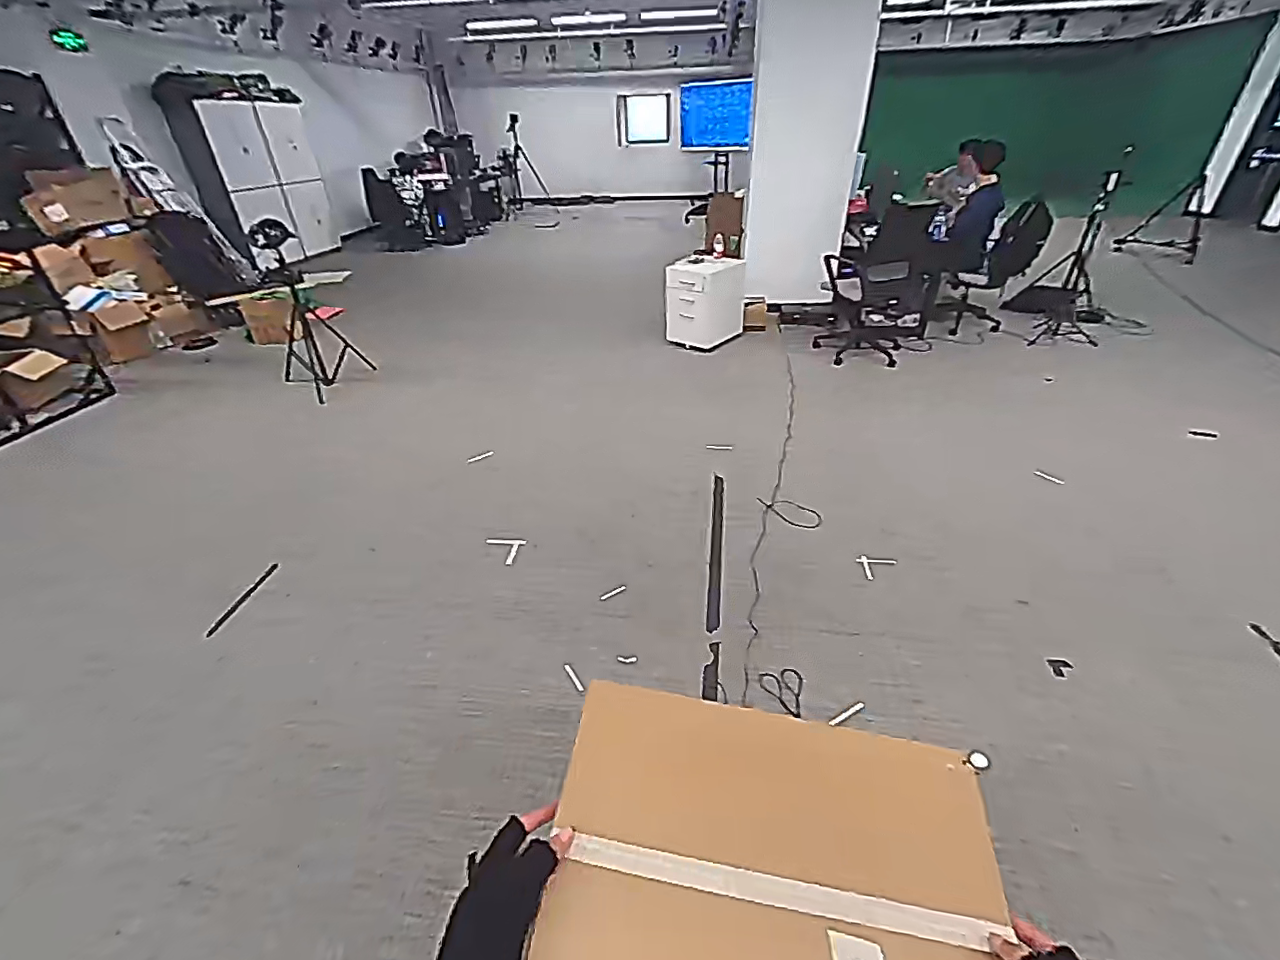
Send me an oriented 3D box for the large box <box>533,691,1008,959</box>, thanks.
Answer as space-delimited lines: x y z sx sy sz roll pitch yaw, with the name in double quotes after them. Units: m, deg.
0.112 0.476 0.588 0.408 0.320 0.320 9 45 6 "large box"
